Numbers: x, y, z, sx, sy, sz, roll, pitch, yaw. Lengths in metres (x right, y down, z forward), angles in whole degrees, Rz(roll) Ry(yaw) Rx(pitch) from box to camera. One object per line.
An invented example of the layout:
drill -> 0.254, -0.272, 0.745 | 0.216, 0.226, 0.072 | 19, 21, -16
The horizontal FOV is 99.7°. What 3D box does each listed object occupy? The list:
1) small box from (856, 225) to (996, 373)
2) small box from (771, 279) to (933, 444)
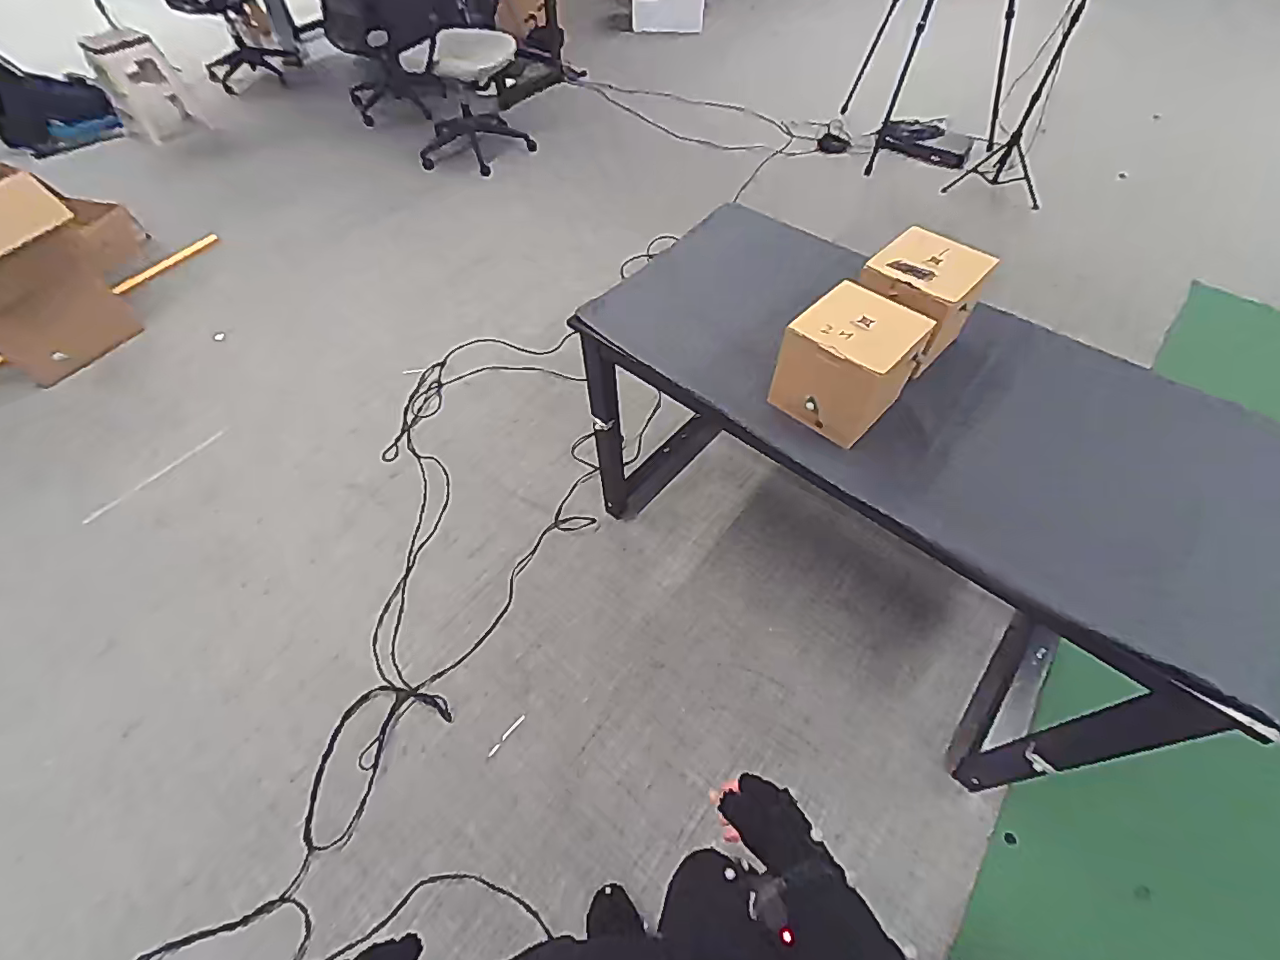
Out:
small box -> 0.501, -0.330, 0.997 | 0.168, 0.176, 0.179 | 38, 64, 24
small box -> 0.342, -0.196, 0.904 | 0.168, 0.176, 0.179 | 38, 63, 24
